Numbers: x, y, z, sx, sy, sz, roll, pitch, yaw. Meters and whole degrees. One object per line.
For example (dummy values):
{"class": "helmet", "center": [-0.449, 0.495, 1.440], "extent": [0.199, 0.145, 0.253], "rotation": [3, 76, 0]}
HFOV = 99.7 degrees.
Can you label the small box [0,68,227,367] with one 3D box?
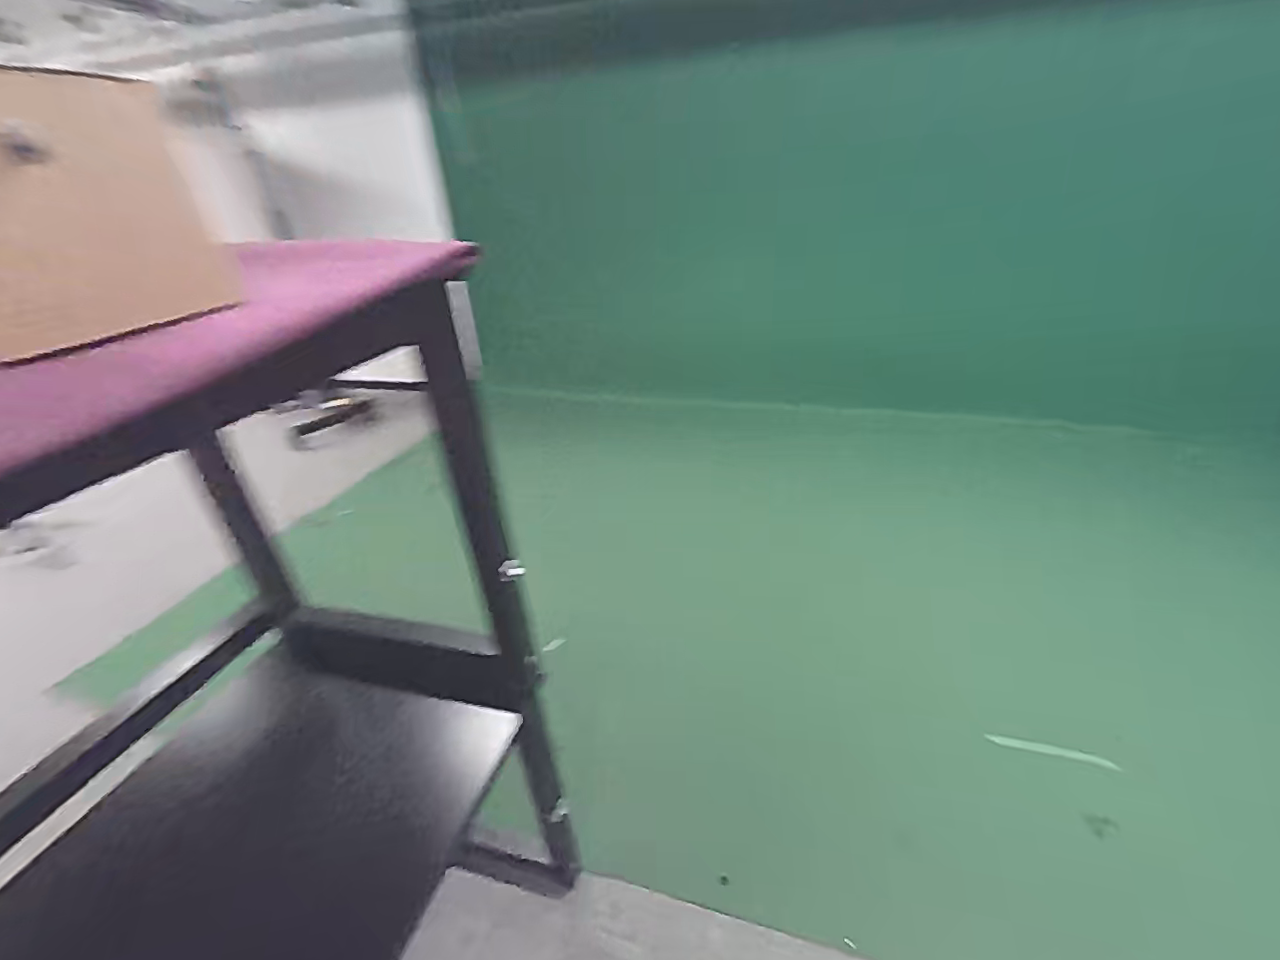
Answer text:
{"class": "small box", "center": [-0.473, -0.188, 0.403], "extent": [0.168, 0.176, 0.179], "rotation": [4, 31, 17]}
